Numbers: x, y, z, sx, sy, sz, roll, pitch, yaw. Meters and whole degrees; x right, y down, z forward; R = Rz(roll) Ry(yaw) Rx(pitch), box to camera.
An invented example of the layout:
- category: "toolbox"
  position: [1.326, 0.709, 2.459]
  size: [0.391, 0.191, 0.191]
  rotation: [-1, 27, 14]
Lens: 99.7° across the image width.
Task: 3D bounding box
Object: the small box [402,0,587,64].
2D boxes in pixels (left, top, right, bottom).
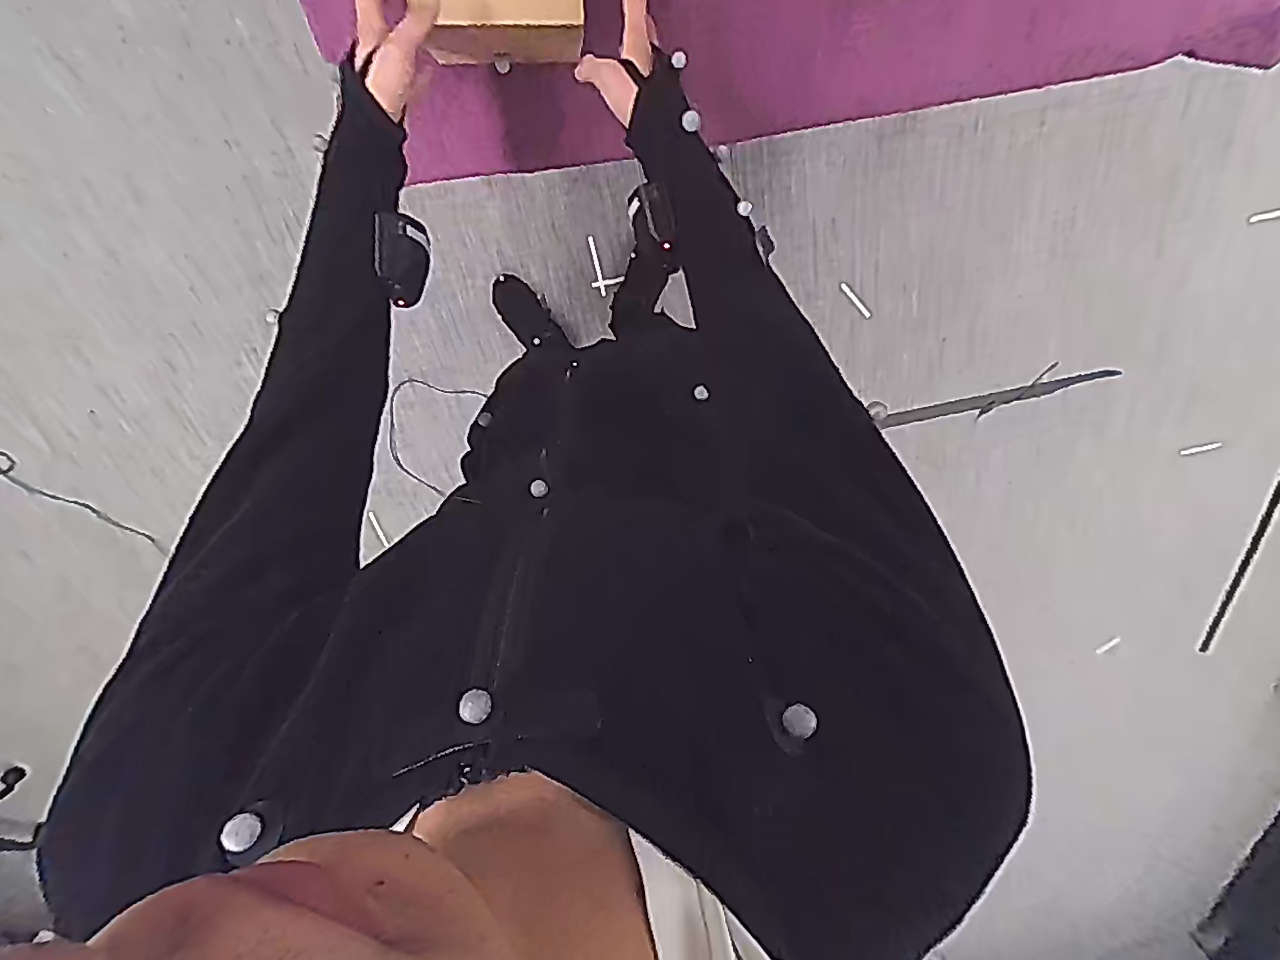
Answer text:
- category: "small box"
  position: [-0.141, -0.529, 0.523]
  size: [0.168, 0.176, 0.179]
  rotation: [-4, 119, -5]
